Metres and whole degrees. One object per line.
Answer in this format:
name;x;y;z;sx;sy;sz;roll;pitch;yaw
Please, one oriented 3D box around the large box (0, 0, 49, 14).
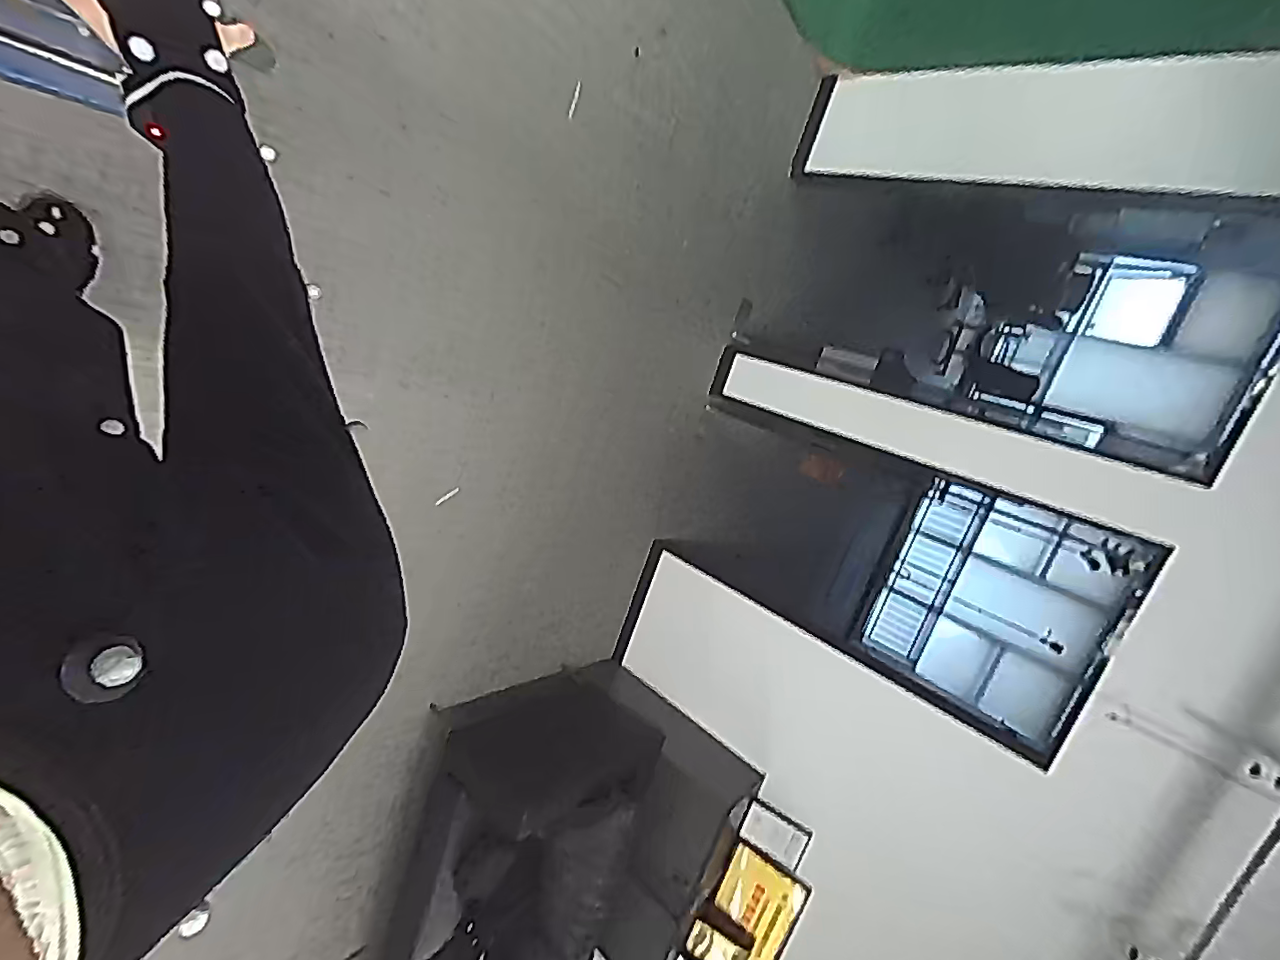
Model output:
large box;-0.885;-0.849;0.595;0.320;0.320;0.408;-6;115;-52
